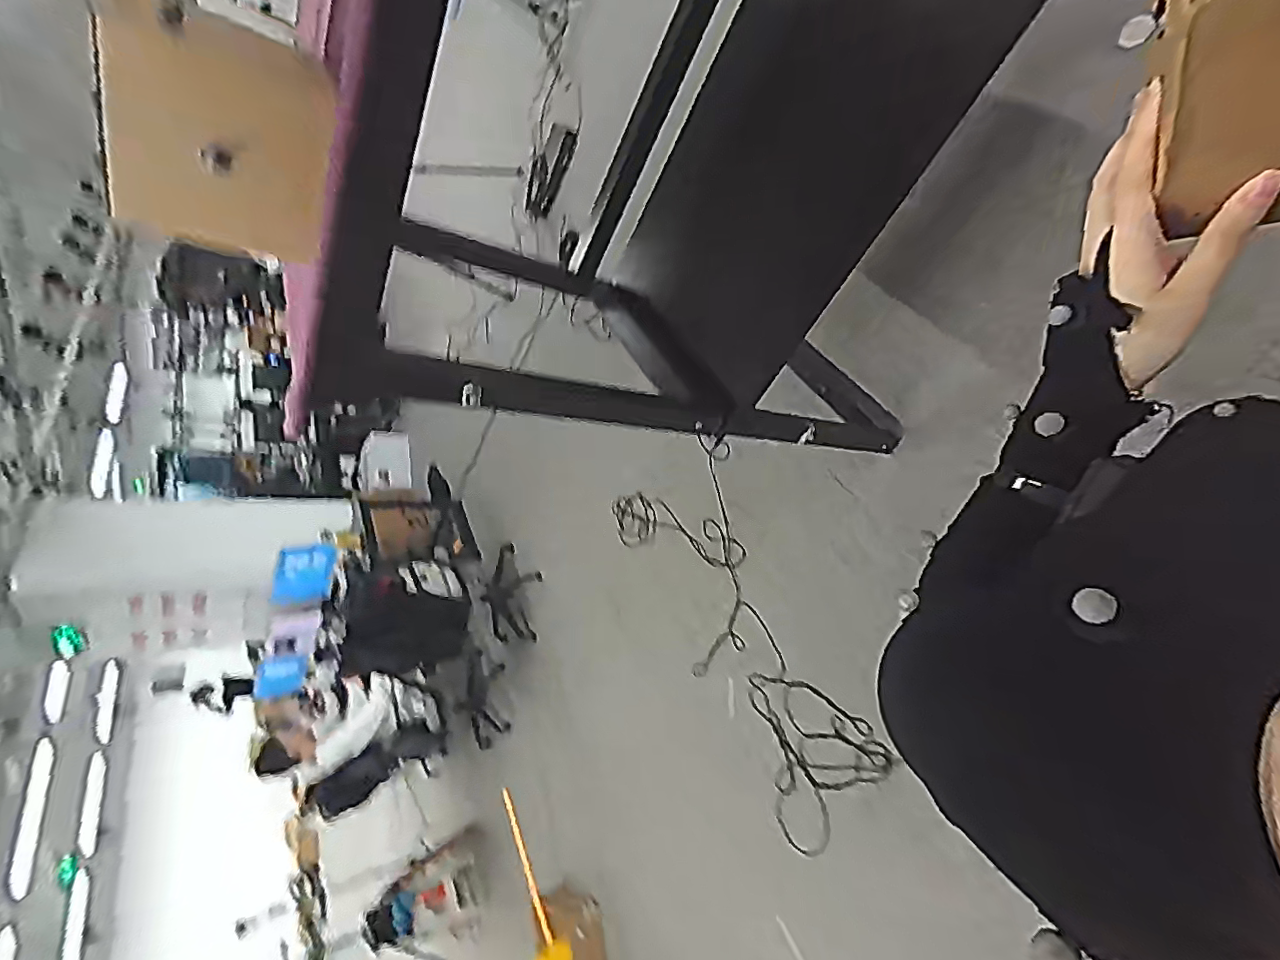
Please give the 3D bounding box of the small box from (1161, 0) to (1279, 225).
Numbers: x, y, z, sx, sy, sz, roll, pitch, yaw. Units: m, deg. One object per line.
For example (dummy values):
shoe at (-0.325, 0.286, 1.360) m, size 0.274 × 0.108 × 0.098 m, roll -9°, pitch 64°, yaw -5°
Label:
small box at (0.327, -0.232, 0.208) m, size 0.179 × 0.176 × 0.168 m, roll 3°, pitch 79°, yaw 41°
